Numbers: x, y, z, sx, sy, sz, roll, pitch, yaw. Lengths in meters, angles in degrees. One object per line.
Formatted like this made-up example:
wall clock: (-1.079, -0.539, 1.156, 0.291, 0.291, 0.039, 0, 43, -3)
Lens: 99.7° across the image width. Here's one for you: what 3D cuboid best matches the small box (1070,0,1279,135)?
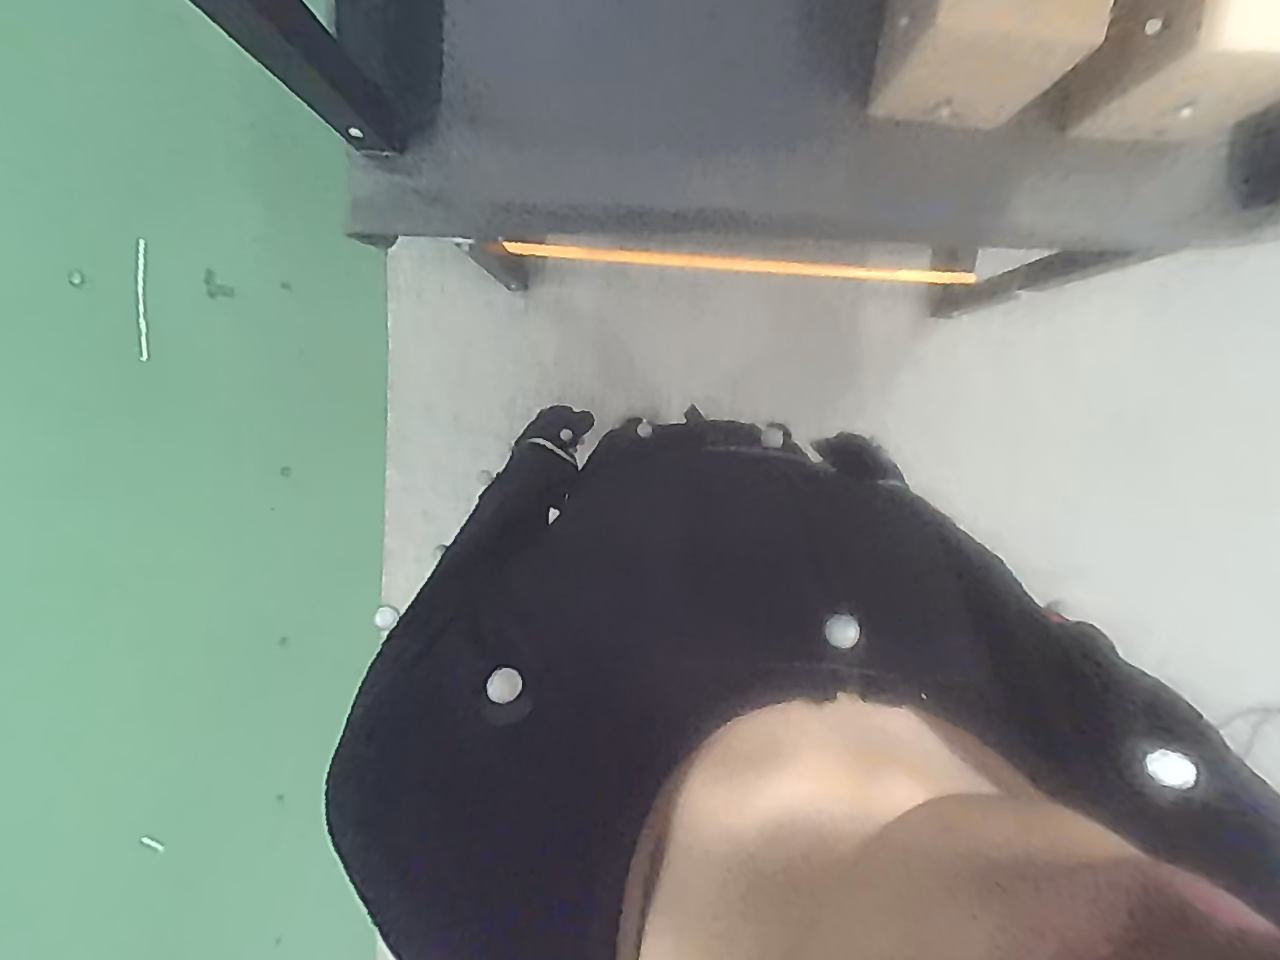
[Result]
small box: (0.621, -0.509, 0.591, 0.168, 0.176, 0.179, 3, 97, 0)
